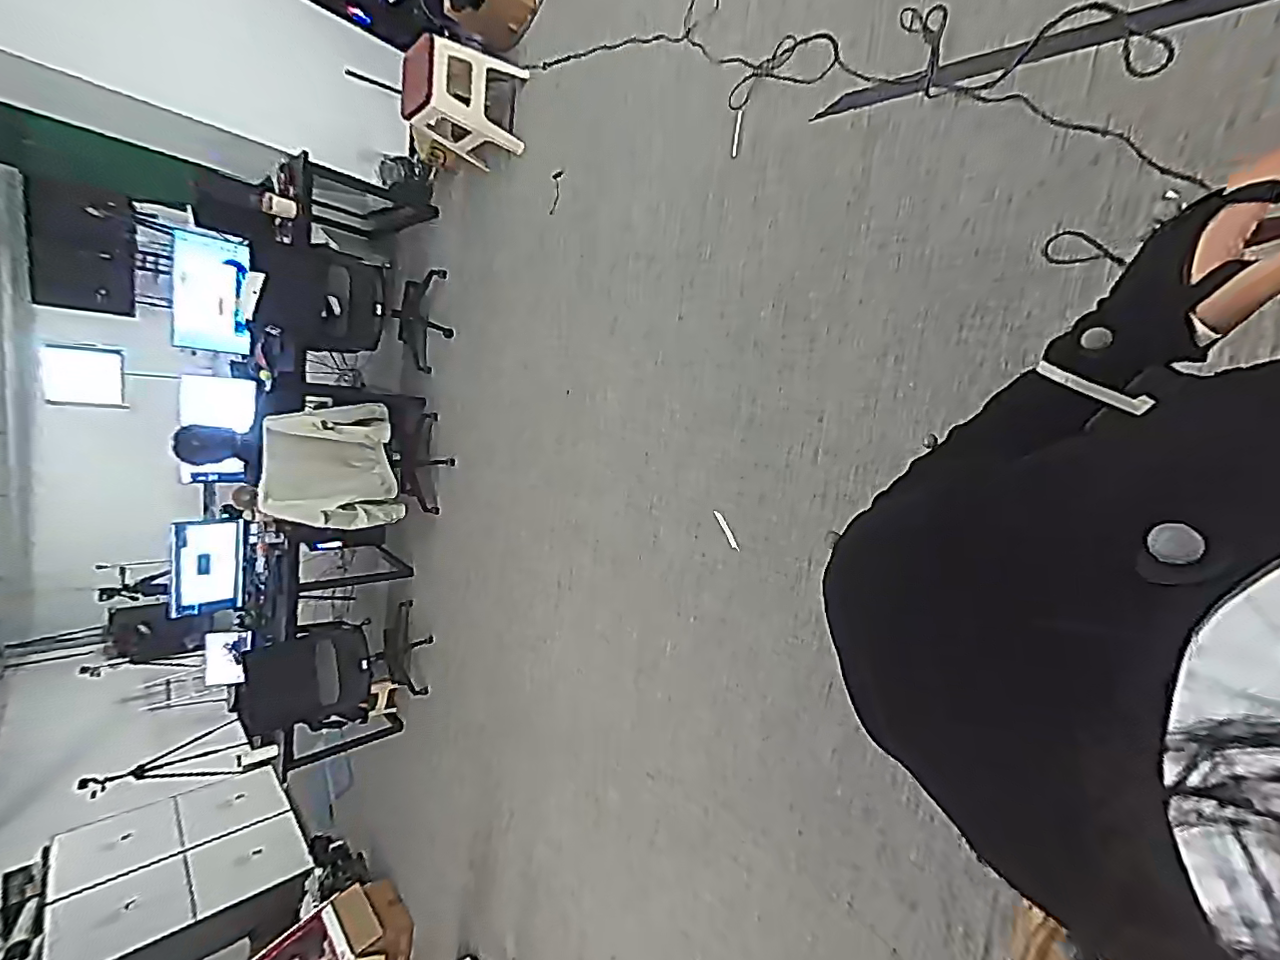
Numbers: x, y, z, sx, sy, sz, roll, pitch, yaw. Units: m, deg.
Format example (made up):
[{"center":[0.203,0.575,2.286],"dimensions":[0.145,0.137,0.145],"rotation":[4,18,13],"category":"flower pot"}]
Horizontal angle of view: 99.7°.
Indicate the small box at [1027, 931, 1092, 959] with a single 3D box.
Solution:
[{"center":[0.611,0.803,0.754],"dimensions":[0.168,0.176,0.179],"rotation":[25,106,44],"category":"small box"}]
